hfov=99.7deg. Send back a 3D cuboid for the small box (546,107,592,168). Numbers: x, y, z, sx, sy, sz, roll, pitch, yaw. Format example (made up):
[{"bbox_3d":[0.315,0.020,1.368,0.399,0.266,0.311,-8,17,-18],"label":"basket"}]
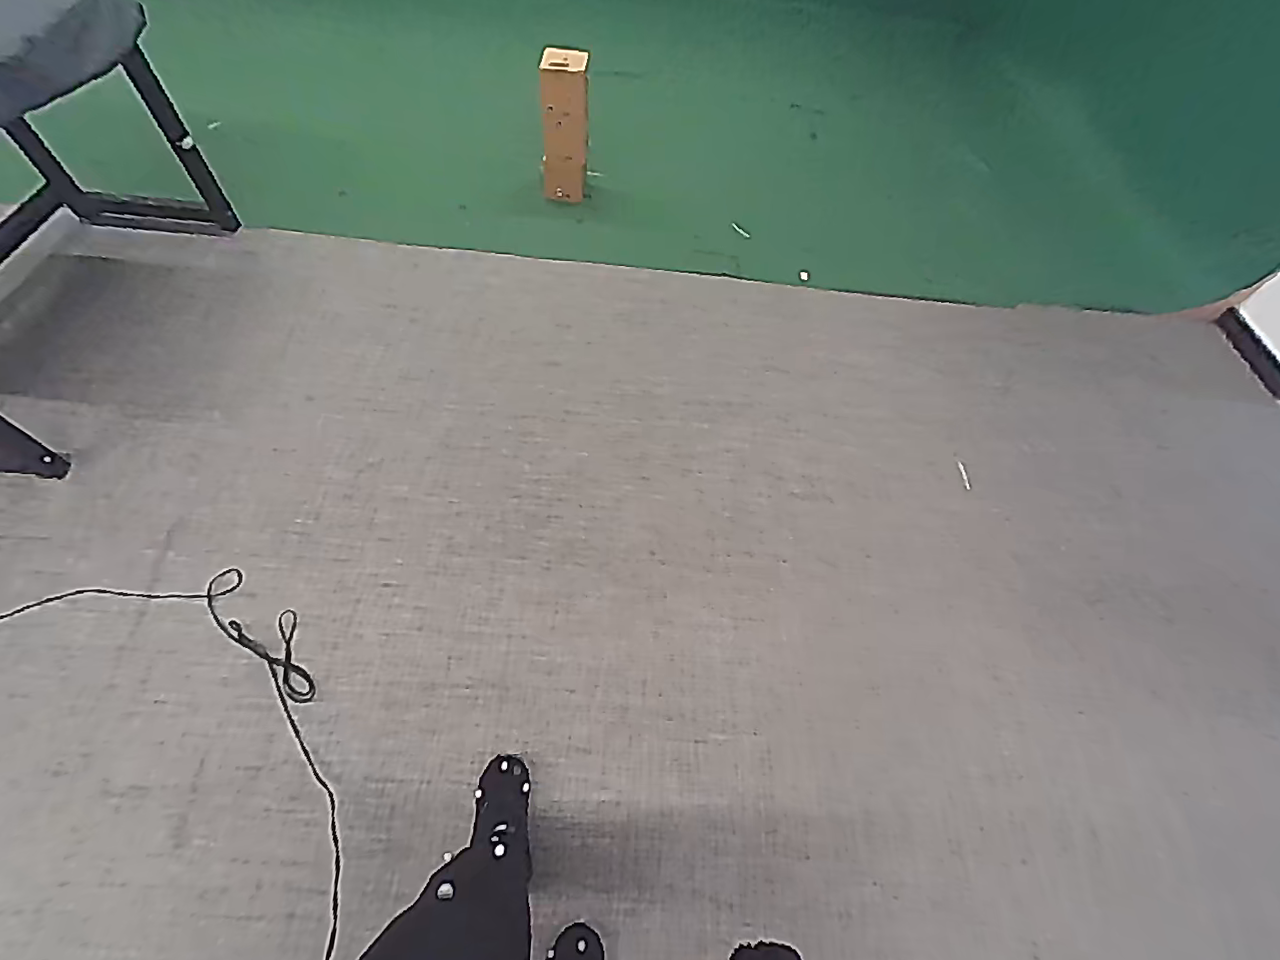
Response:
[{"bbox_3d":[-0.292,-1.425,2.235,0.168,0.176,0.179,5,57,-2],"label":"small box"}]

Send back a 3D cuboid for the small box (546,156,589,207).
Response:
[{"bbox_3d":[-0.314,-1.334,2.370,0.168,0.176,0.179,5,59,-2],"label":"small box"}]

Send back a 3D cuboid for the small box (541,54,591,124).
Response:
[{"bbox_3d":[-0.282,-1.512,2.096,0.168,0.176,0.179,5,57,-2],"label":"small box"}]
